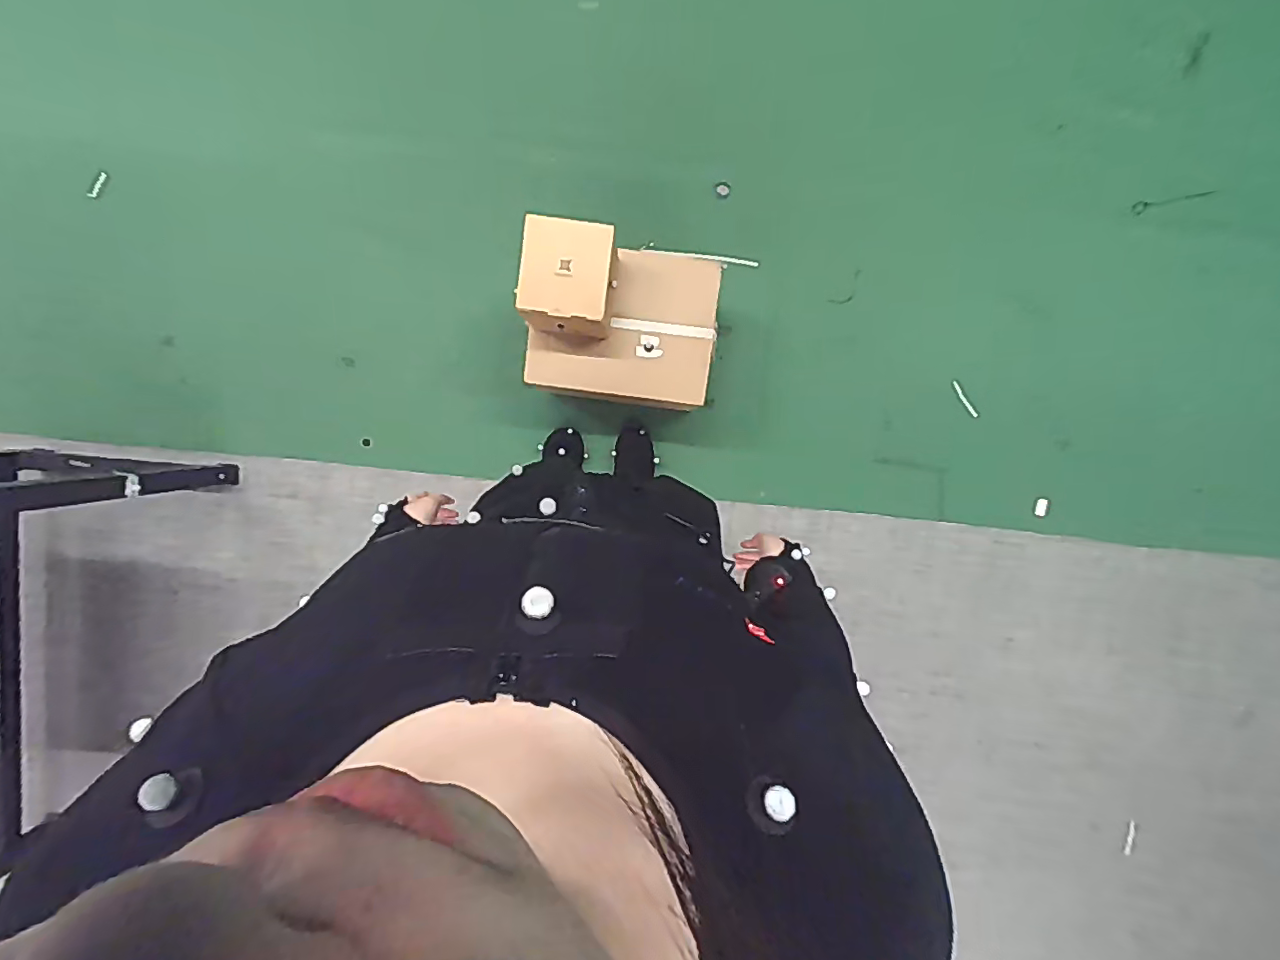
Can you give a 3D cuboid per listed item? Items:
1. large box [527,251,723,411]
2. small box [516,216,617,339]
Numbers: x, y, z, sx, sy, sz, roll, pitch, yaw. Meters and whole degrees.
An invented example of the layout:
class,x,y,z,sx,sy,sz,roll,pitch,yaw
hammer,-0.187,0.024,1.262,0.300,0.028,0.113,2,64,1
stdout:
class,x,y,z,sx,sy,sz,roll,pitch,yaw
large box,-0.036,-0.347,1.313,0.408,0.320,0.320,7,96,-1
small box,-0.137,-0.389,1.066,0.168,0.176,0.179,7,95,-1
